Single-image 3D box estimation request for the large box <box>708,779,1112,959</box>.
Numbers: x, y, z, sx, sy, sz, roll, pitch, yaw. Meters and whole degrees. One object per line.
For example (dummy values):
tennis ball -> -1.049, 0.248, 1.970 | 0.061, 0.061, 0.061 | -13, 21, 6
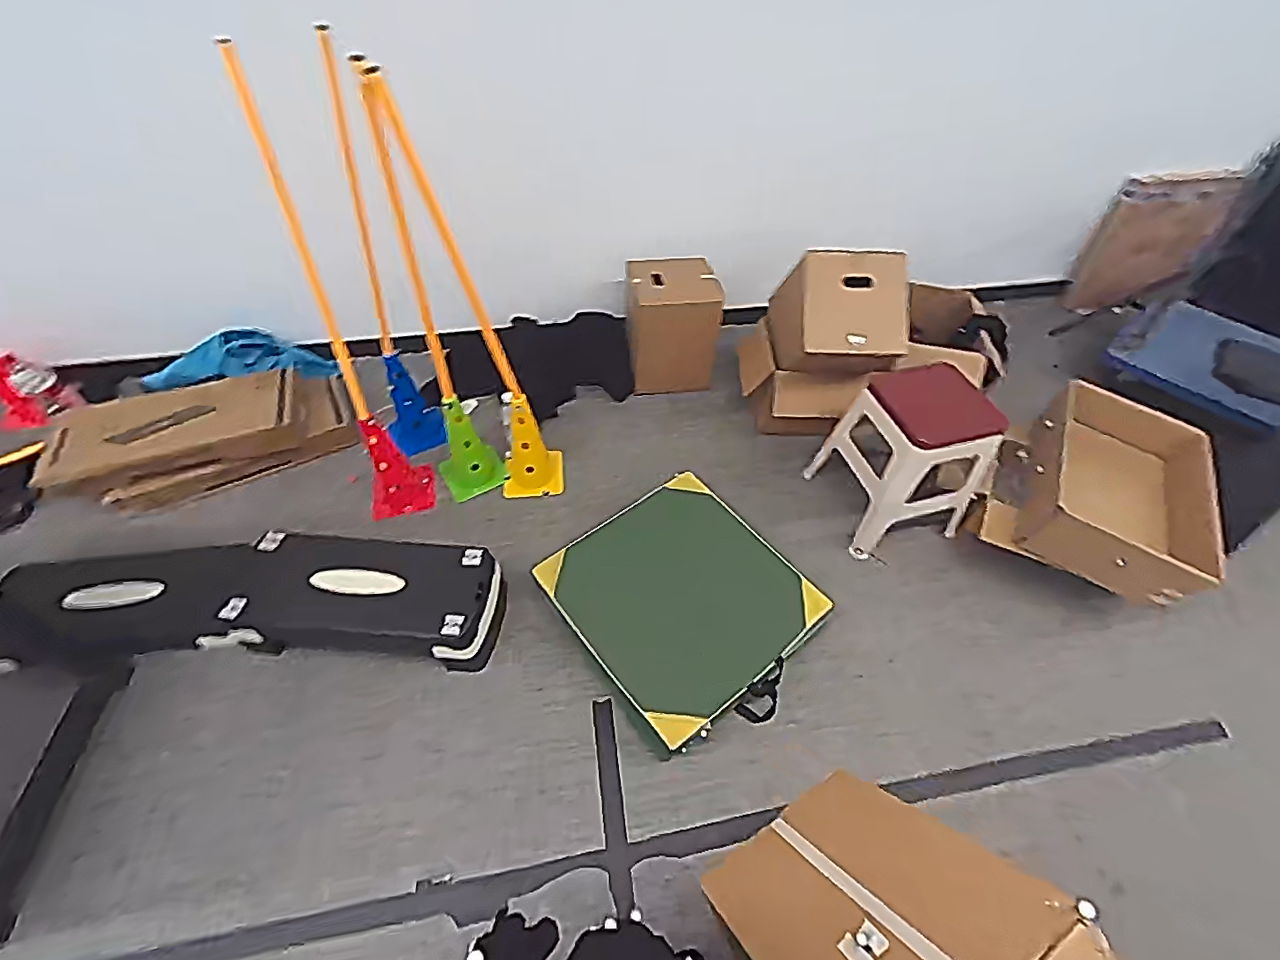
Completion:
large box -> 0.356, 0.689, 0.710 | 0.320, 0.408, 0.320 | -26, 91, -19
